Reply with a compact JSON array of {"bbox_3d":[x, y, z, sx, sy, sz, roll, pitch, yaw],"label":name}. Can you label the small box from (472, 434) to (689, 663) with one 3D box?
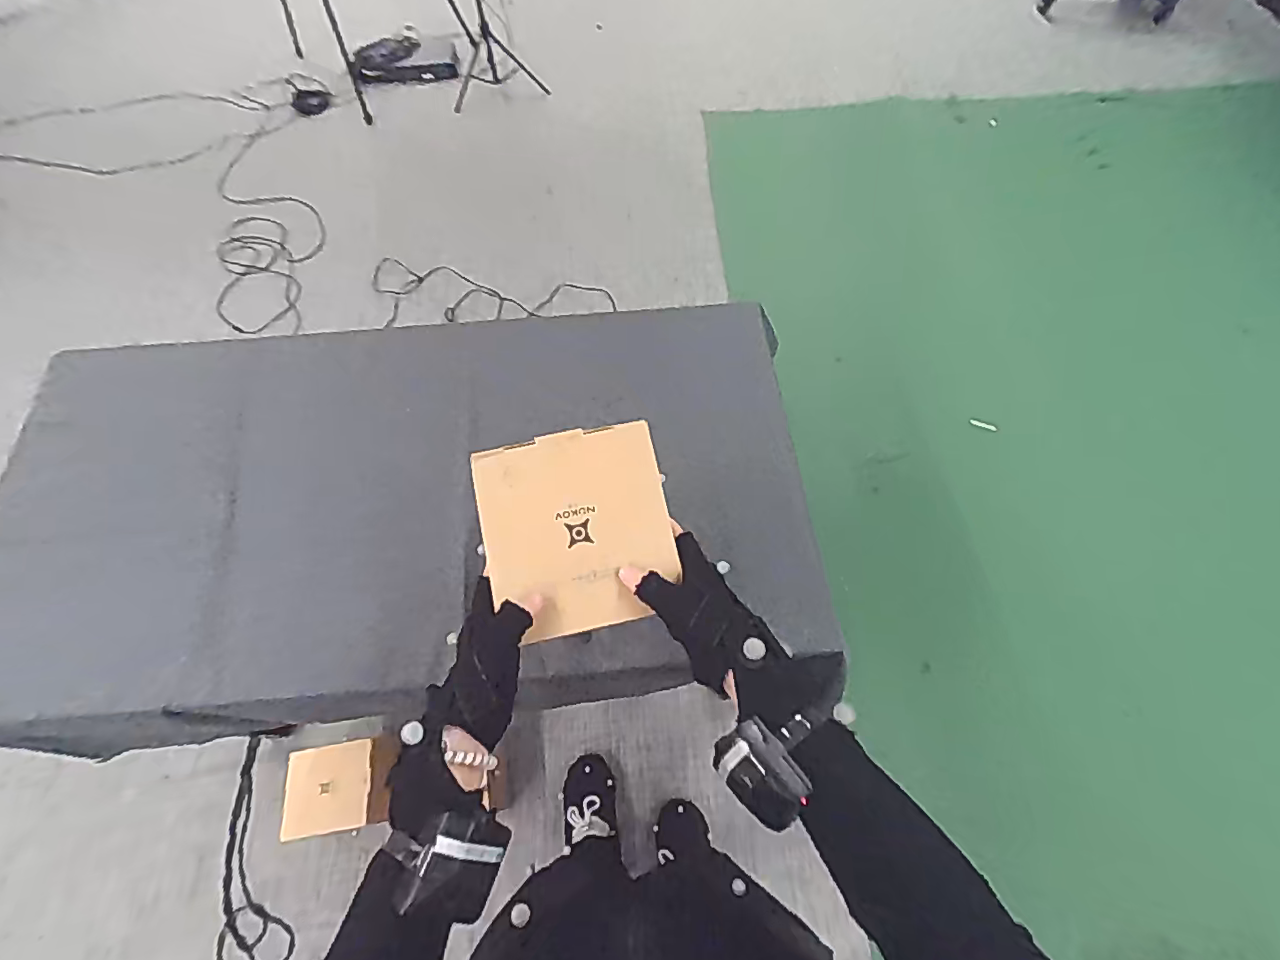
[{"bbox_3d":[-0.059,0.072,0.544,0.168,0.176,0.179,-11,78,-5],"label":"small box"}]
